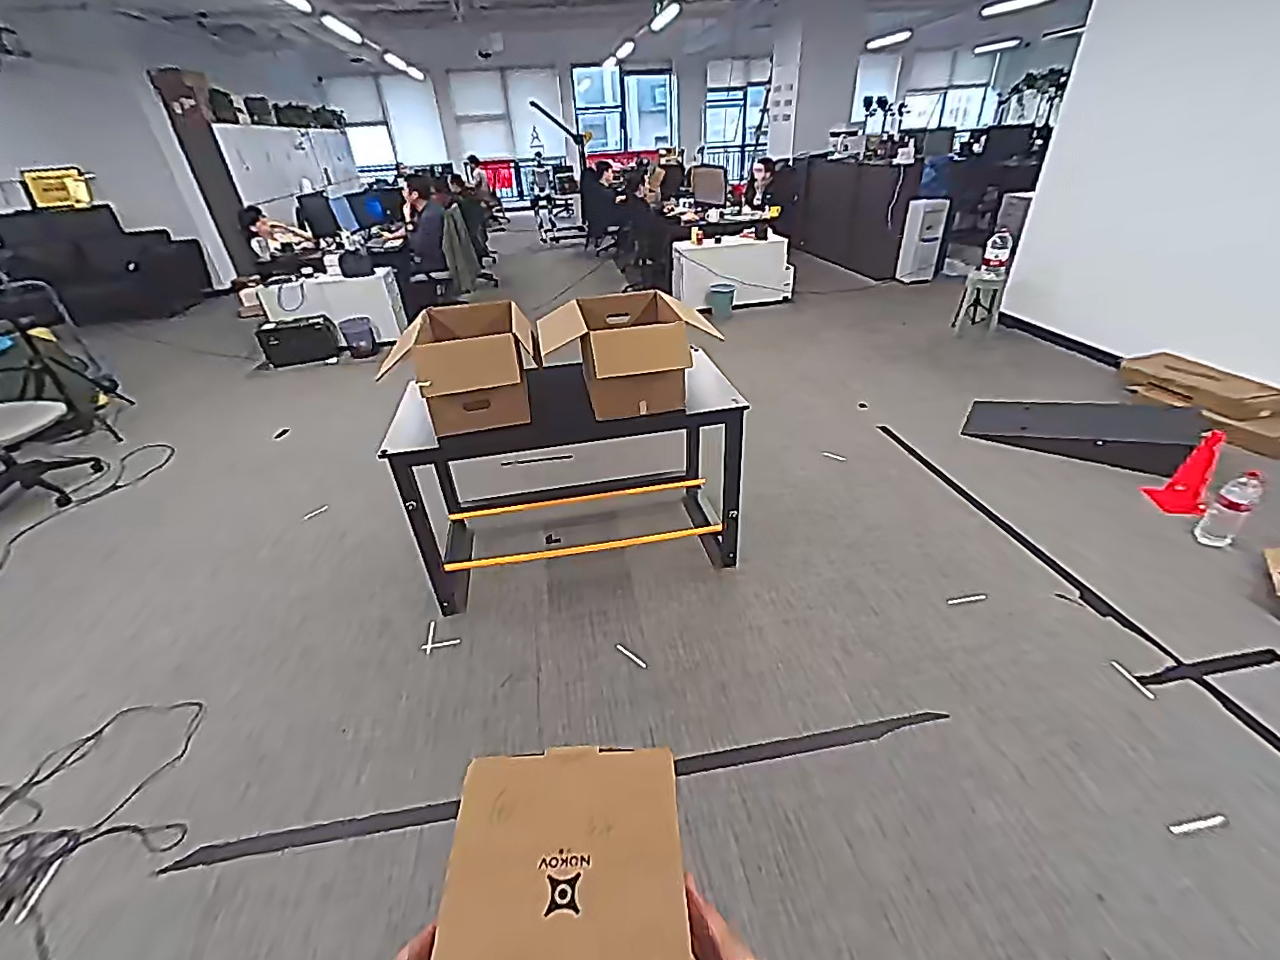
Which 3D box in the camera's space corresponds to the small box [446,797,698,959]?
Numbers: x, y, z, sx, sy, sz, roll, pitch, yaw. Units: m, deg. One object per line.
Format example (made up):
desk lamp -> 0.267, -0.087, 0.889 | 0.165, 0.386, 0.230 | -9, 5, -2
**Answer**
small box -> -0.045, 0.368, 0.405 | 0.168, 0.176, 0.179 | -2, 38, -2
